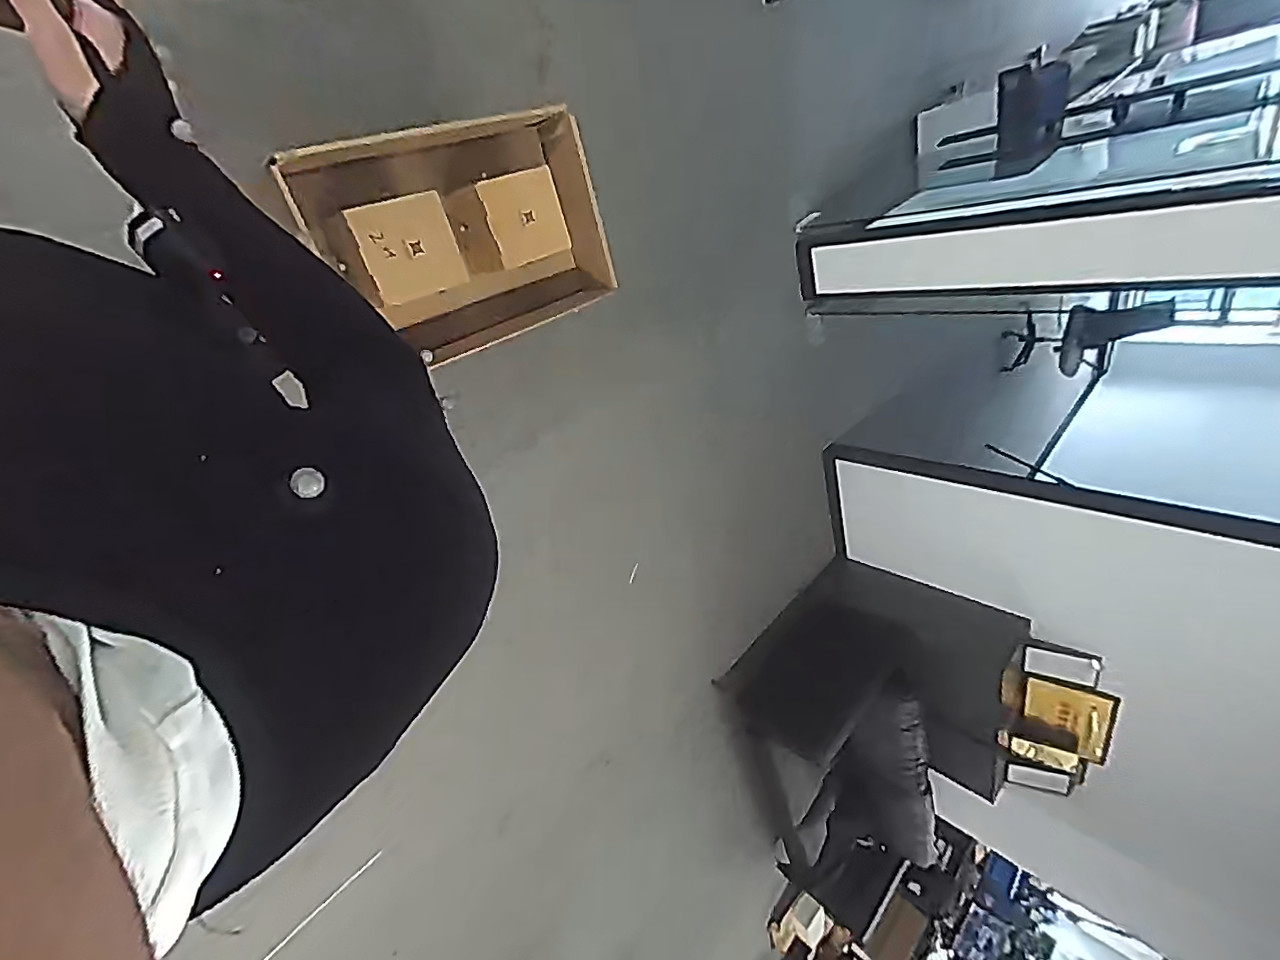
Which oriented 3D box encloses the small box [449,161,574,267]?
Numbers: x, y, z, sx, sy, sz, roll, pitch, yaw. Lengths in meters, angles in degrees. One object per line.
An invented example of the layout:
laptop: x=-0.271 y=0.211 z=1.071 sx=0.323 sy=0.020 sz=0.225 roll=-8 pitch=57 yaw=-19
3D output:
small box: x=-0.276 y=-0.566 z=1.161 sx=0.179 sy=0.176 sz=0.168 roll=-34 pitch=124 yaw=-28

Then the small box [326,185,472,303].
small box: x=-0.458 y=-0.445 z=1.029 sx=0.179 sy=0.176 sz=0.168 roll=-33 pitch=123 yaw=-31
